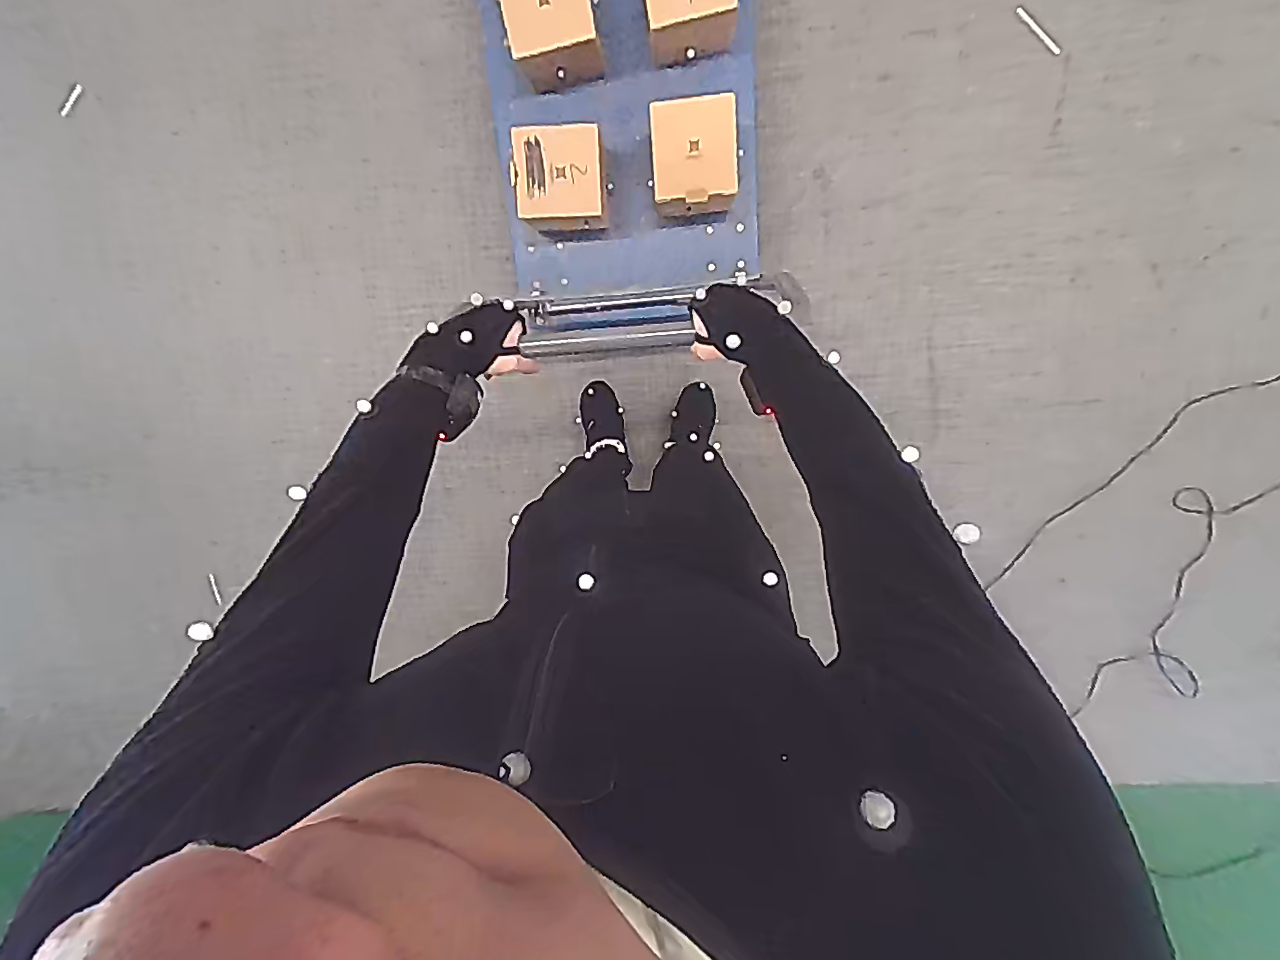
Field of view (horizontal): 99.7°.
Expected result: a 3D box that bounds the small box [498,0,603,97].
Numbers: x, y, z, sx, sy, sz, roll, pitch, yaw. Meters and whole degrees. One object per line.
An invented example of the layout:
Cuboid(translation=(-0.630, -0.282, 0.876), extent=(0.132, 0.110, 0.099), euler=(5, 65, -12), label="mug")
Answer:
Cuboid(translation=(-0.176, -0.902, 1.081), extent=(0.168, 0.176, 0.179), euler=(-10, 106, 5), label="small box")

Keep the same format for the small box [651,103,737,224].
Cuboid(translation=(0.110, -0.656, 1.139), extent=(0.168, 0.176, 0.179), euler=(-4, 107, 4), label="small box")

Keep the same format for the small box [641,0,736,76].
Cuboid(translation=(0.087, -0.939, 1.056), extent=(0.168, 0.176, 0.179), euler=(-9, 106, 6), label="small box")
